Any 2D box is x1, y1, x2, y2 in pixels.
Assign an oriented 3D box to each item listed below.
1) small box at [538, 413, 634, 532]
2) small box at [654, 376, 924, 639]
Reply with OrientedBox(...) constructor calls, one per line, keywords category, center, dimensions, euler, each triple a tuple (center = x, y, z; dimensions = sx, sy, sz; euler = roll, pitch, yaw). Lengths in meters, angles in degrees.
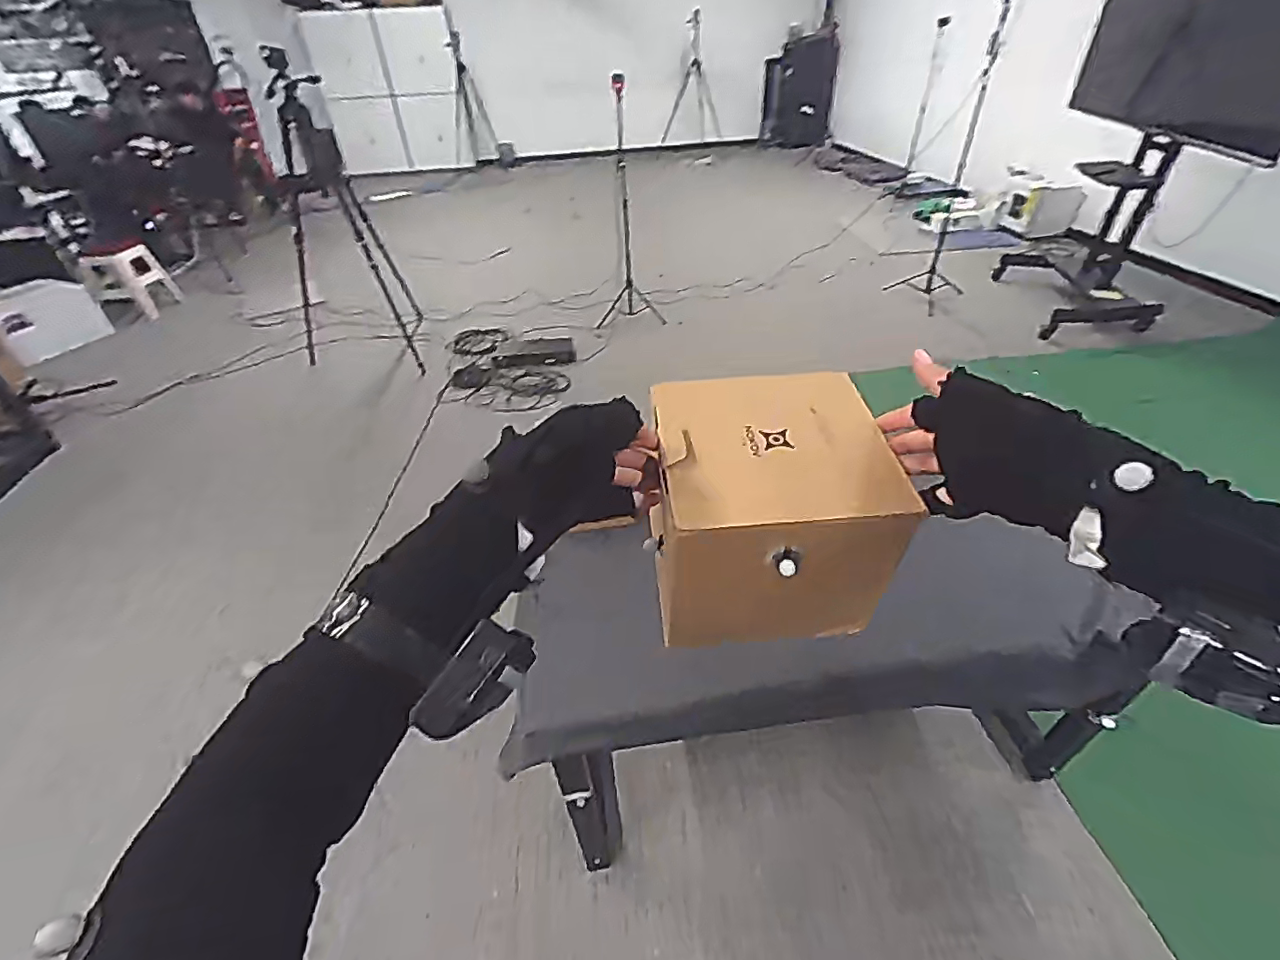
OrientedBox(category="small box", center=(-0.108, -0.014, 1.093), dimensions=(0.179, 0.176, 0.168), euler=(-7, 40, -6))
OrientedBox(category="small box", center=(0.105, 0.027, 0.477), dimensions=(0.179, 0.176, 0.168), euler=(-3, 47, -3))
